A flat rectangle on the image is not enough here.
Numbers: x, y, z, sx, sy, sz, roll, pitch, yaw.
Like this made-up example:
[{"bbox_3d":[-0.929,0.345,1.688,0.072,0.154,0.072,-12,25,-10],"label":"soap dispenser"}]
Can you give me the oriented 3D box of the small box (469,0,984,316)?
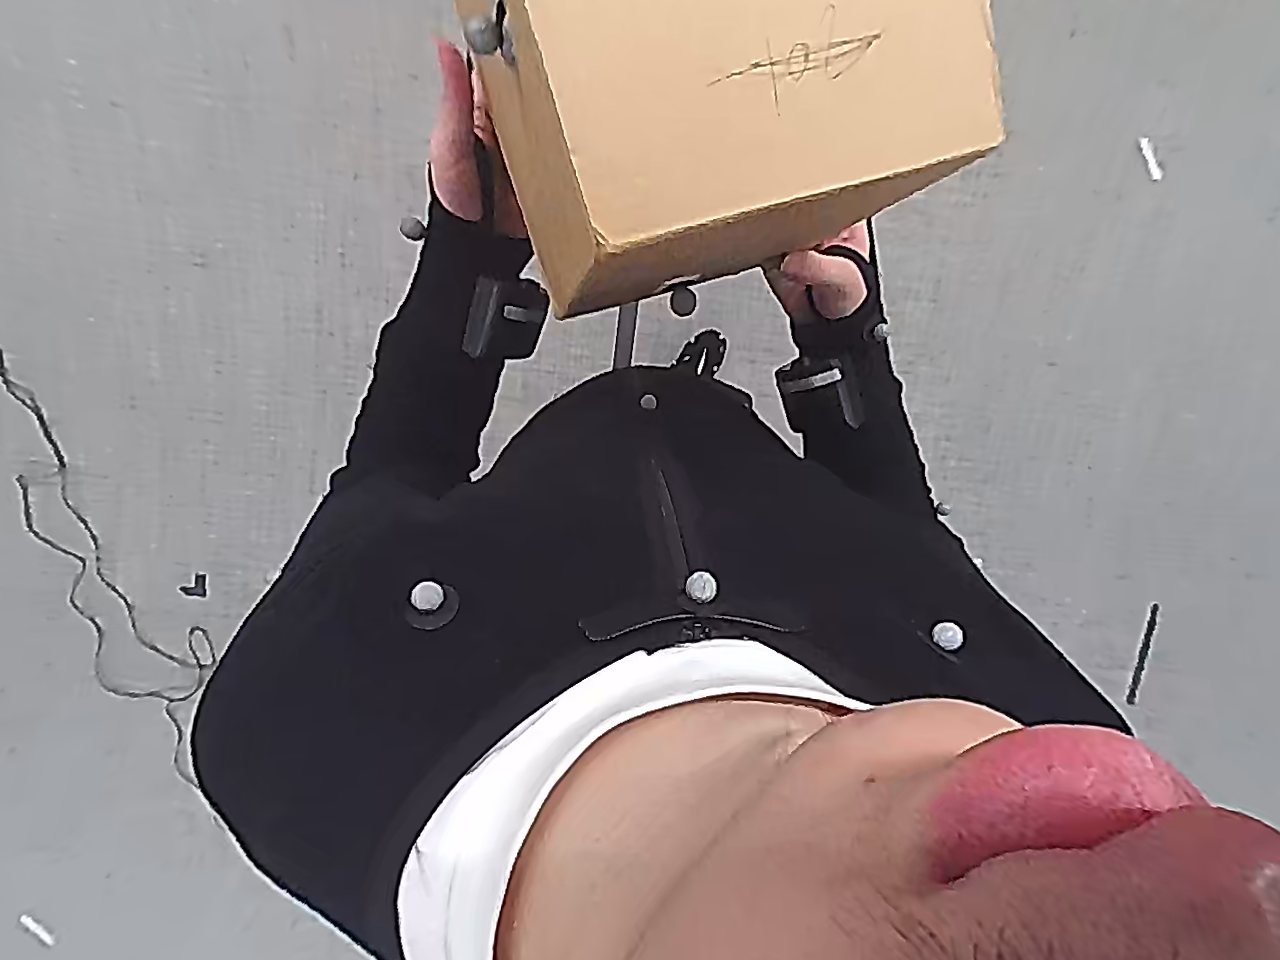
[{"bbox_3d":[0.019,-0.198,0.264,0.168,0.176,0.179,-21,102,-8],"label":"small box"}]
